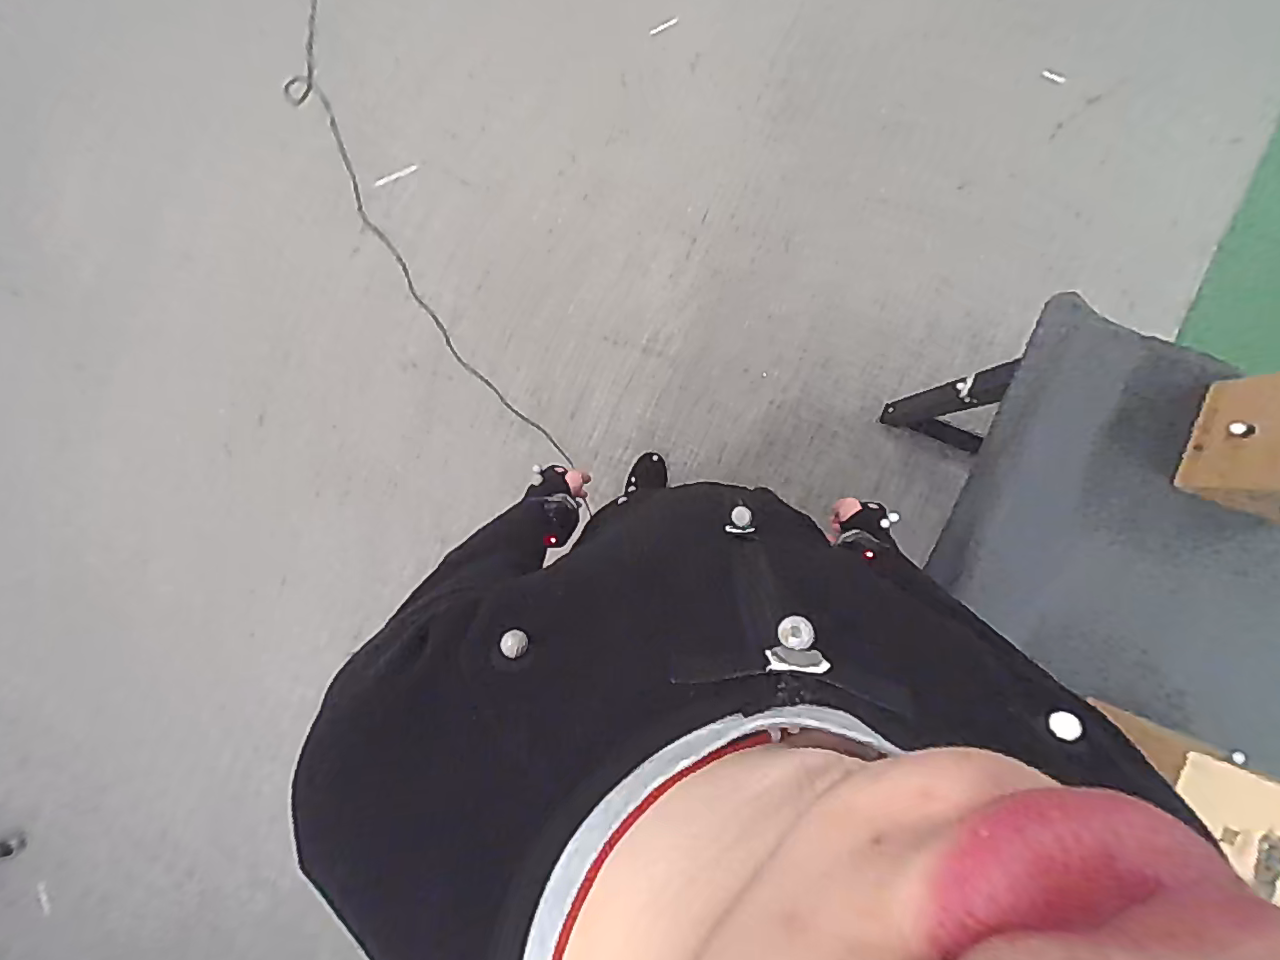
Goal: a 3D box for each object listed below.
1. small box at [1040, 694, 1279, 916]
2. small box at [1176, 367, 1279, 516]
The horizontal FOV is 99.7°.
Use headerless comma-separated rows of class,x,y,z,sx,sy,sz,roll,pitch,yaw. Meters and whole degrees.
small box,0.707,0.420,0.733,0.179,0.176,0.168,22,92,3
small box,0.889,-0.046,0.716,0.179,0.176,0.168,19,92,3
